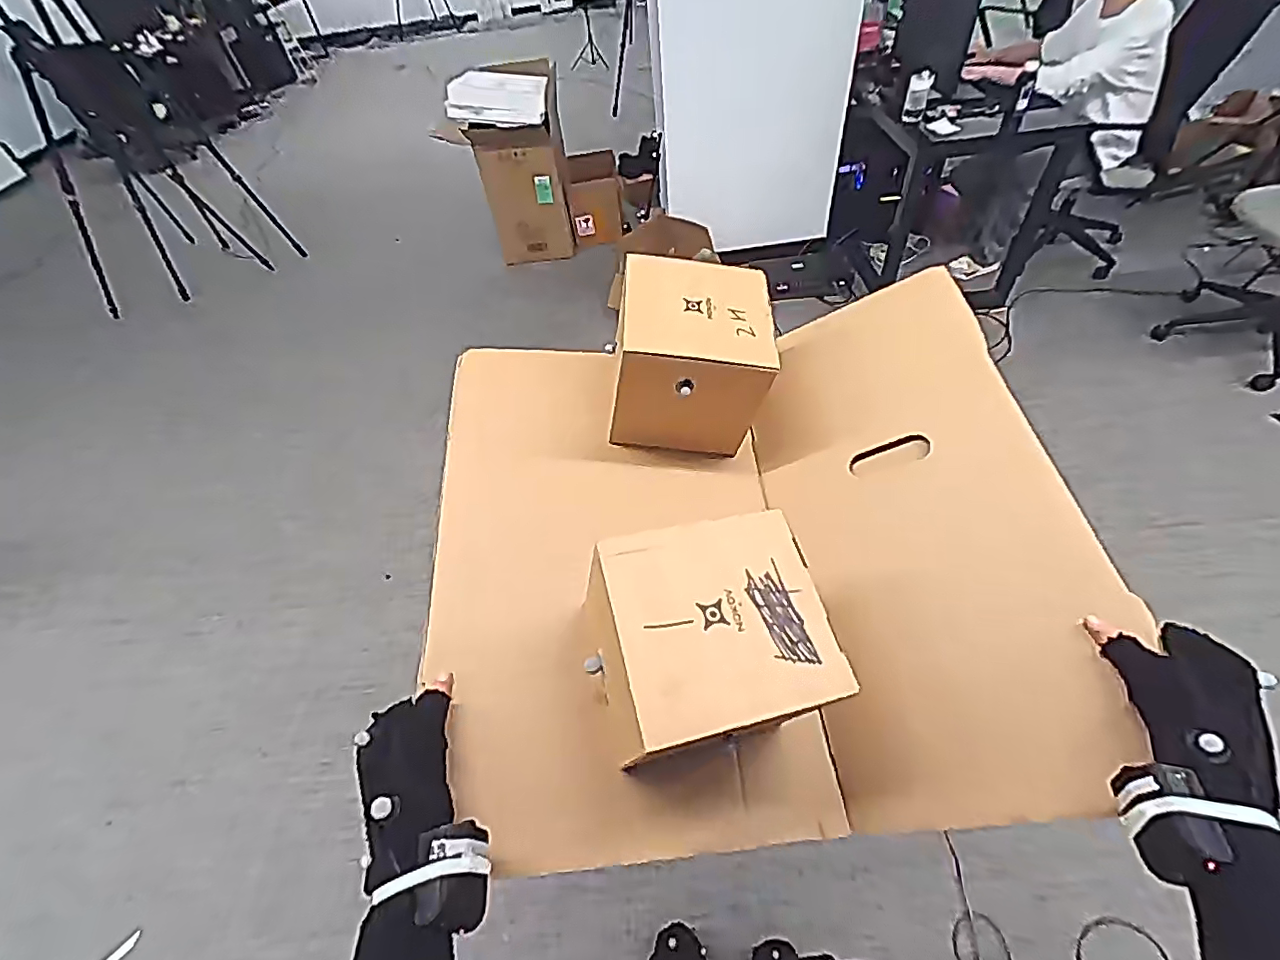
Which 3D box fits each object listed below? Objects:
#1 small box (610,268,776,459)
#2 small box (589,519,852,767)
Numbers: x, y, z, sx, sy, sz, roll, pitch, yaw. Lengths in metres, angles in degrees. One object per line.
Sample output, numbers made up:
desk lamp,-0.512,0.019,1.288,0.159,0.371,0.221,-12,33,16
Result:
small box,0.057,-0.142,0.697,0.179,0.176,0.168,6,57,-6
small box,0.055,0.157,0.509,0.179,0.176,0.168,-9,60,-14
